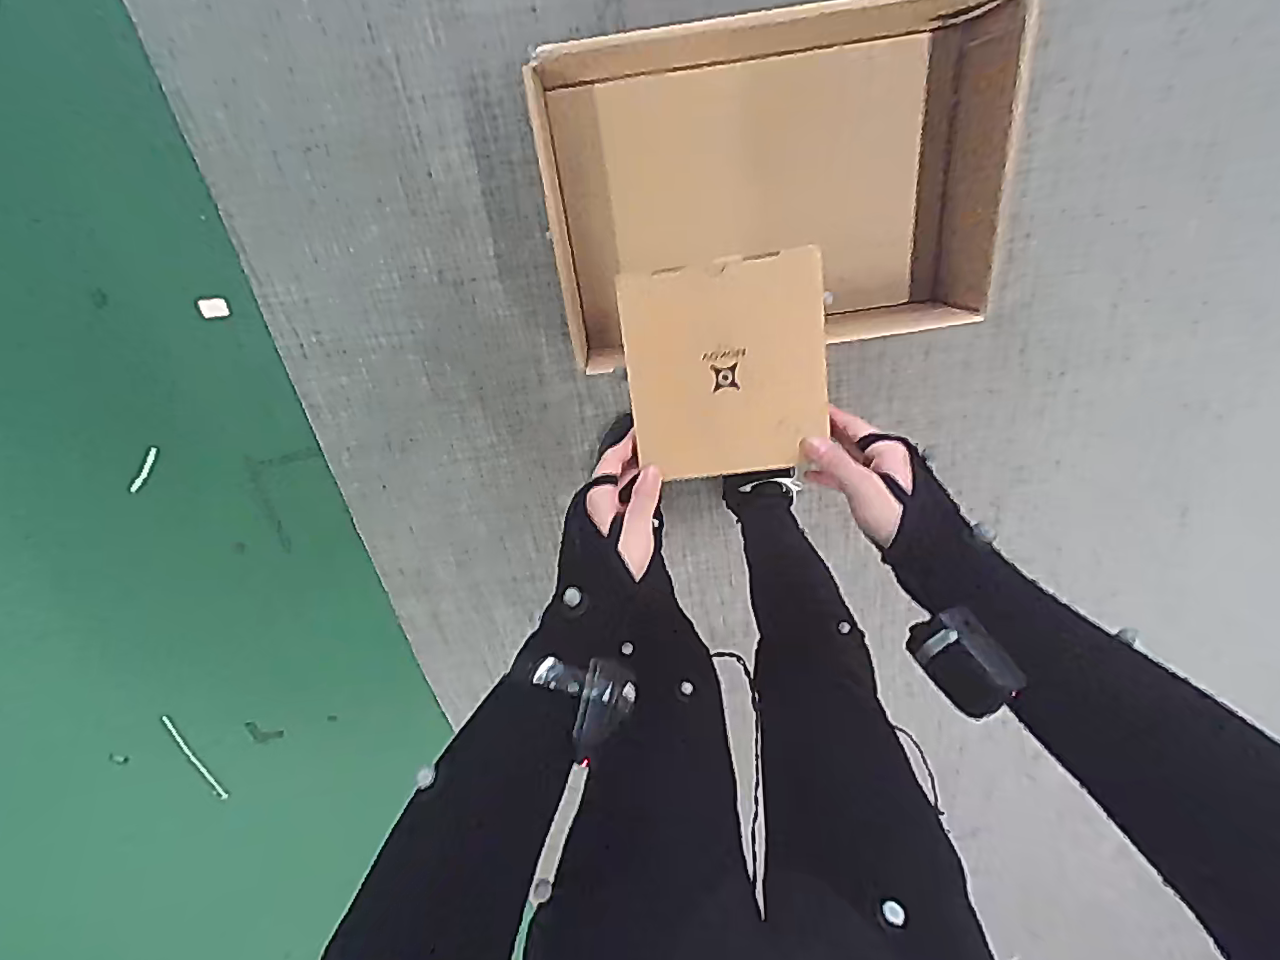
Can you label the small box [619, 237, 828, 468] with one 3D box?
[{"bbox_3d":[0.081,-0.120,0.530,0.168,0.176,0.179,-6,102,7],"label":"small box"}]
